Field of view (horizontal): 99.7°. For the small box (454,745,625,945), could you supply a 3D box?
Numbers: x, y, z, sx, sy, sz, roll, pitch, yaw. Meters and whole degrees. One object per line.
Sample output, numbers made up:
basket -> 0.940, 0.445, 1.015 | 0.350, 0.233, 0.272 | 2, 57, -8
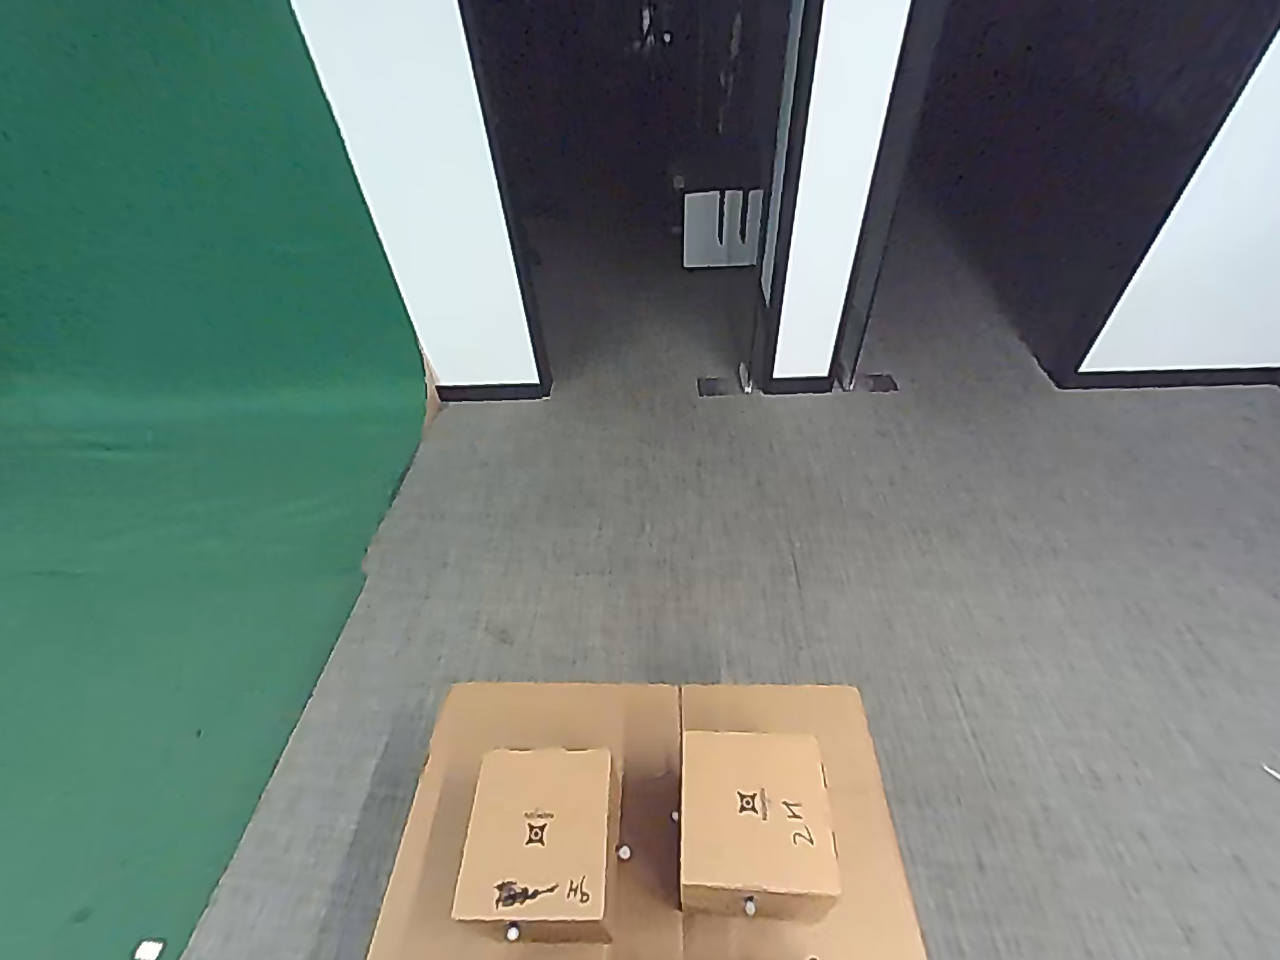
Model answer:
small box -> -0.111, 0.462, 0.687 | 0.168, 0.176, 0.179 | -3, 42, 4
